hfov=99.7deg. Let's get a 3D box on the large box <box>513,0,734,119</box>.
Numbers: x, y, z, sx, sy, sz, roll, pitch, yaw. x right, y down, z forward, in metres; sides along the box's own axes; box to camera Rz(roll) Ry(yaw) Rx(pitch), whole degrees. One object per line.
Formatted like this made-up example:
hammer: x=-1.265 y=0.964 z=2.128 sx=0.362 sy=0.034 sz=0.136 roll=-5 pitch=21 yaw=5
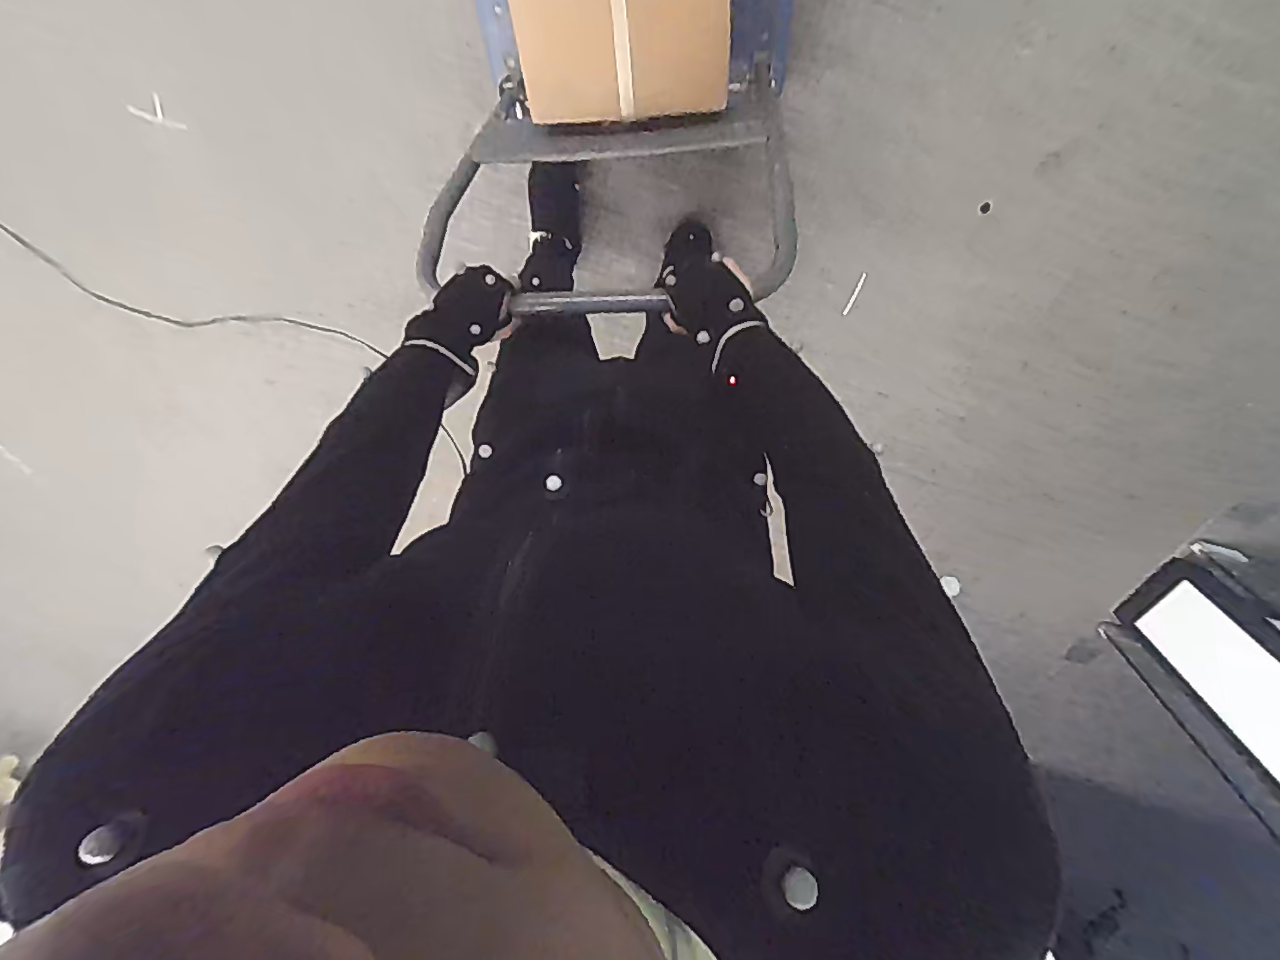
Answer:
large box: x=-0.019 y=-0.823 z=0.804 sx=0.320 sy=0.320 sz=0.408 roll=0 pitch=138 yaw=7
